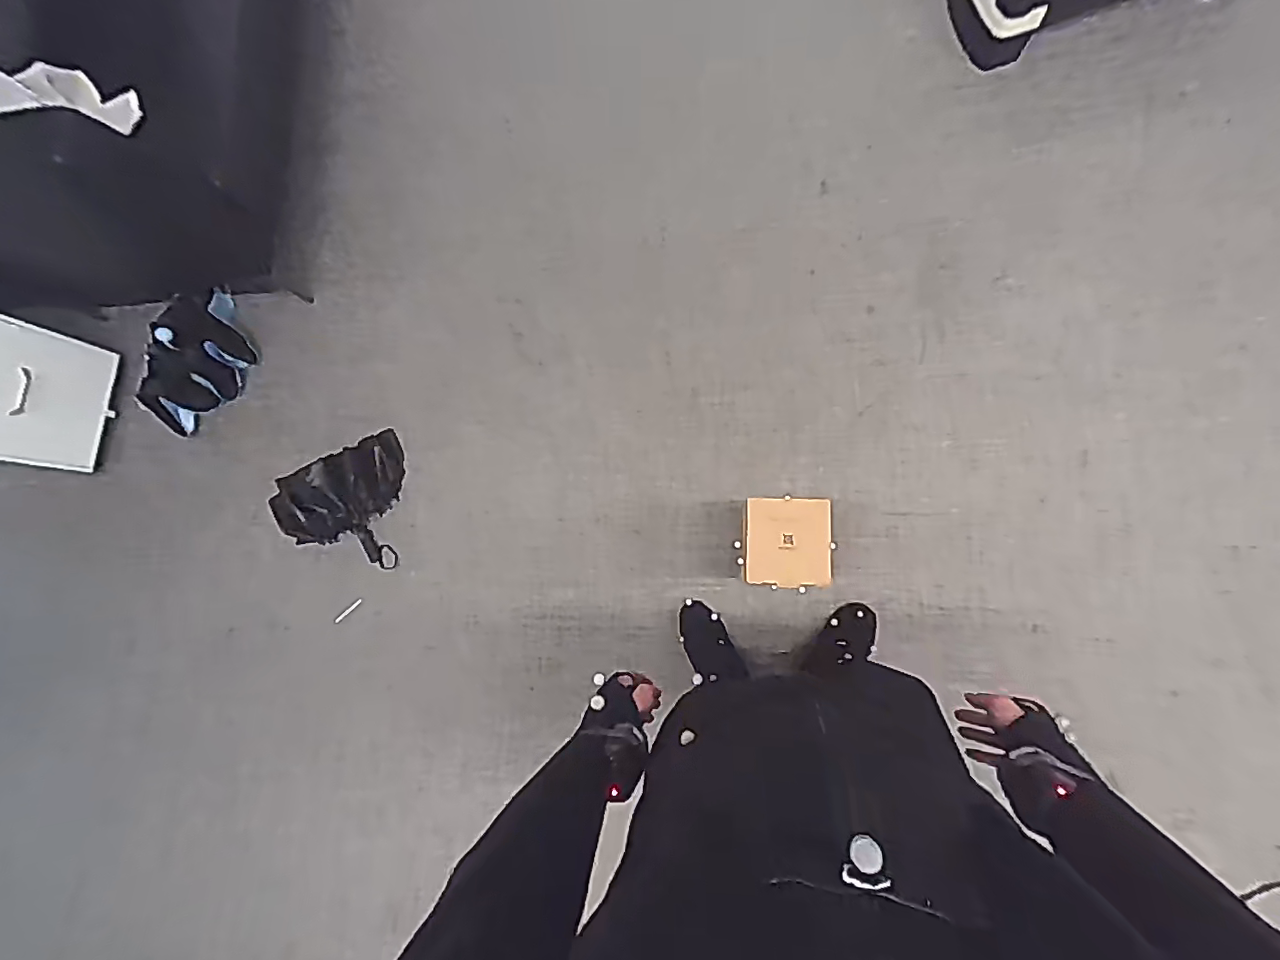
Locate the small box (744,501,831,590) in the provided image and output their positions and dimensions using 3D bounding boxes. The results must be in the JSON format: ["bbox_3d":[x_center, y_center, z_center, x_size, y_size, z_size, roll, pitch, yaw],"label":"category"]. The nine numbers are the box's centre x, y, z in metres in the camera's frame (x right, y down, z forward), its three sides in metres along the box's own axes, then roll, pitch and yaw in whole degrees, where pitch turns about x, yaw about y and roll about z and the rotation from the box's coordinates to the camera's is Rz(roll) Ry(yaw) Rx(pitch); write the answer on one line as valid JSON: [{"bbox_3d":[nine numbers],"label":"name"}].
[{"bbox_3d":[0.312,0.141,1.165,0.168,0.176,0.179,0,81,9],"label":"small box"}]
